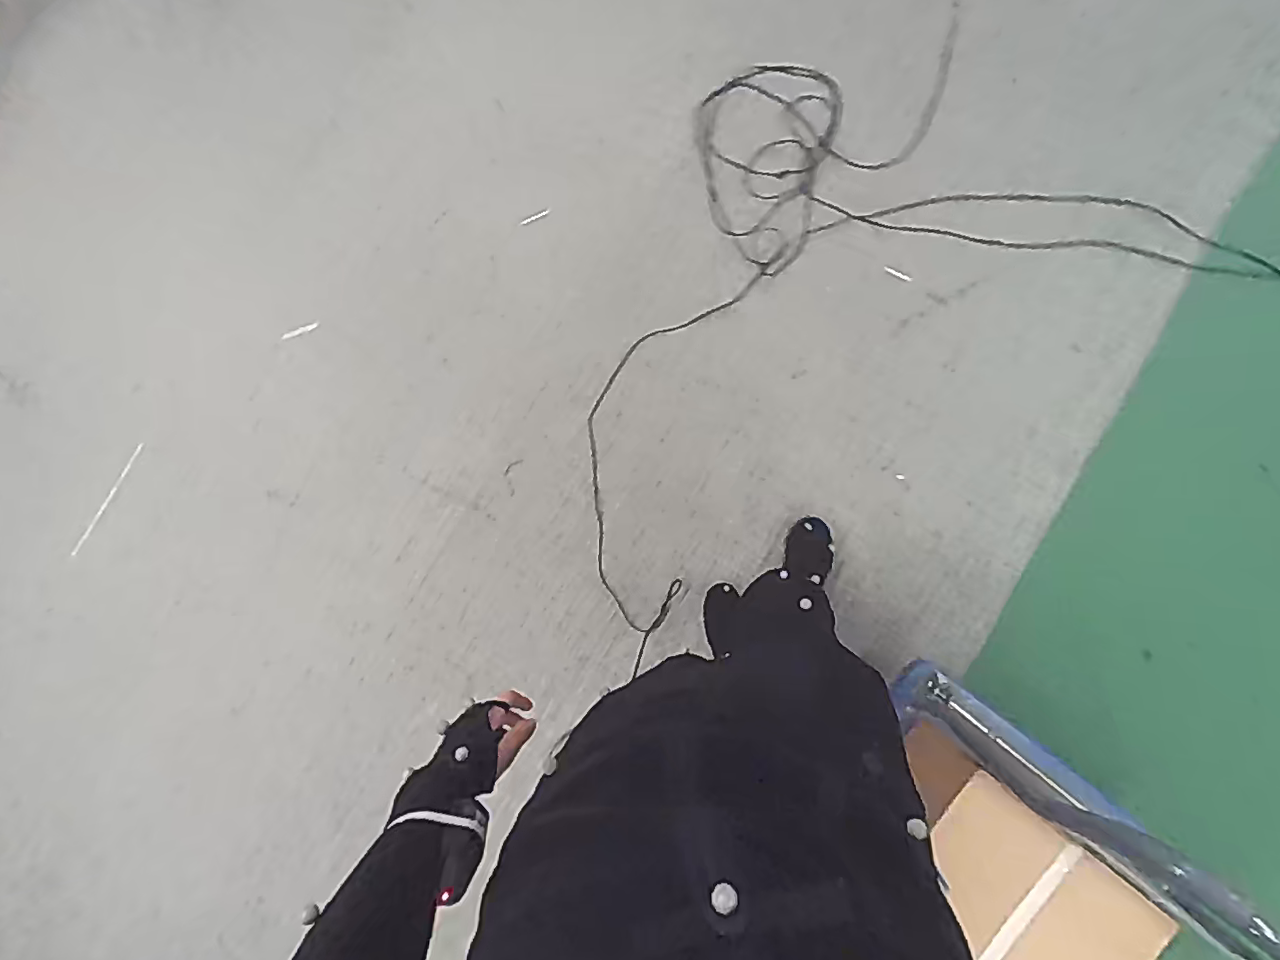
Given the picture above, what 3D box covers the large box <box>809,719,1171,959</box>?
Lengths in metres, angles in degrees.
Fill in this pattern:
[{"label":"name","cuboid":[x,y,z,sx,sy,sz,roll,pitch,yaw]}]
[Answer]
[{"label":"large box","cuboid":[0.555,0.715,0.948,0.320,0.320,0.408,38,90,15]}]
